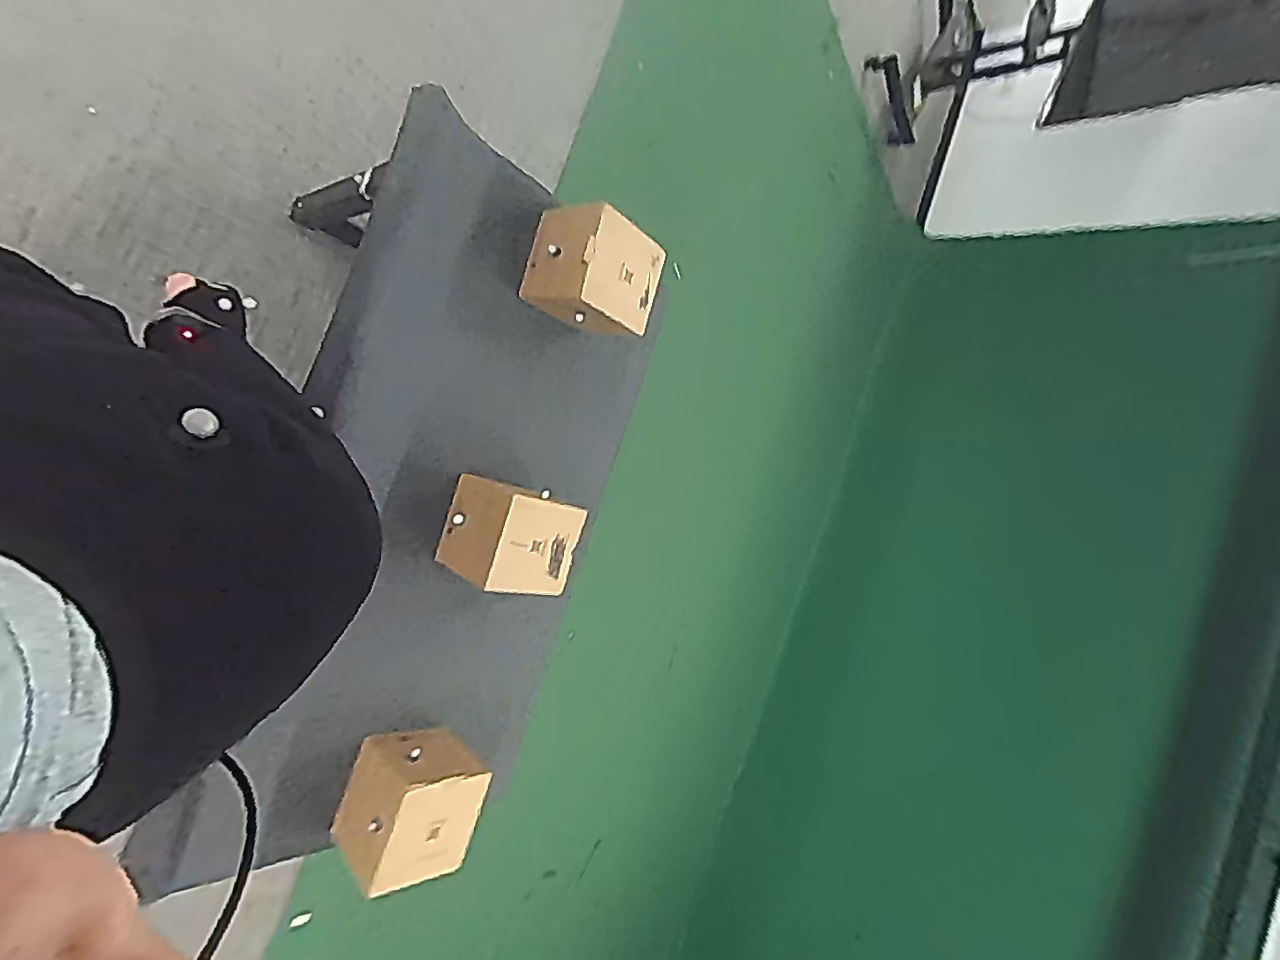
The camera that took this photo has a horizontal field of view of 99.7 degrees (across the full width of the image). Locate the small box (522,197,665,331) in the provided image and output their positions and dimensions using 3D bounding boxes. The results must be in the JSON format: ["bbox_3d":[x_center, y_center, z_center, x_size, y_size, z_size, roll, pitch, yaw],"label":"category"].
[{"bbox_3d":[-0.088,-0.384,0.990,0.179,0.176,0.168,15,92,-50],"label":"small box"}]

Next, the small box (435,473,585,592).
[{"bbox_3d":[-0.237,0.094,0.984,0.179,0.176,0.168,18,89,-49],"label":"small box"}]

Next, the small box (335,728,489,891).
[{"bbox_3d":[-0.403,0.557,0.951,0.168,0.176,0.179,23,86,-49],"label":"small box"}]
